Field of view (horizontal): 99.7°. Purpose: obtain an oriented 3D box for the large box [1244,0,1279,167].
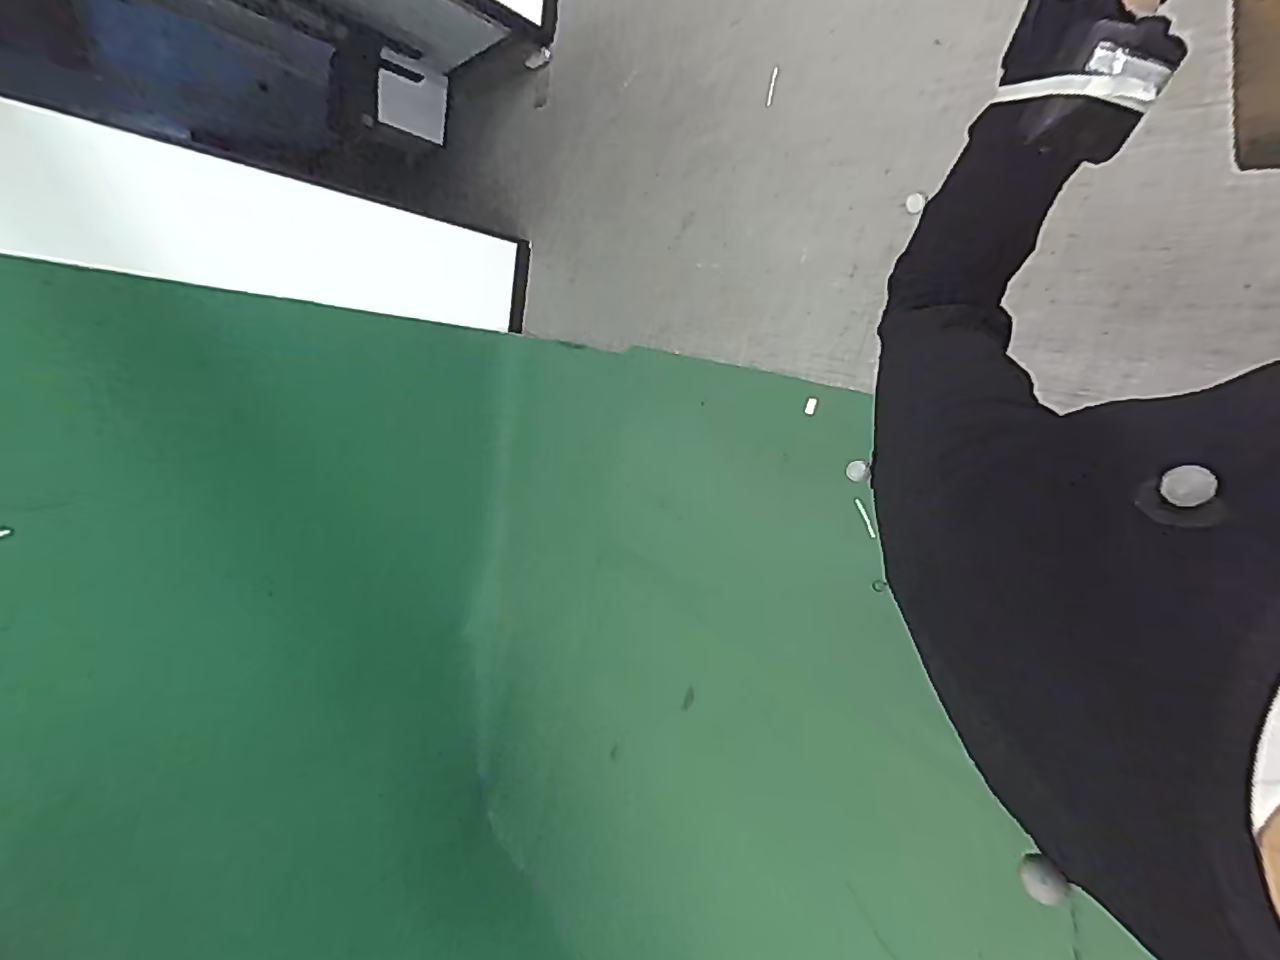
[{"bbox_3d":[0.588,-0.356,0.214,0.408,0.320,0.320,25,113,43],"label":"large box"}]
